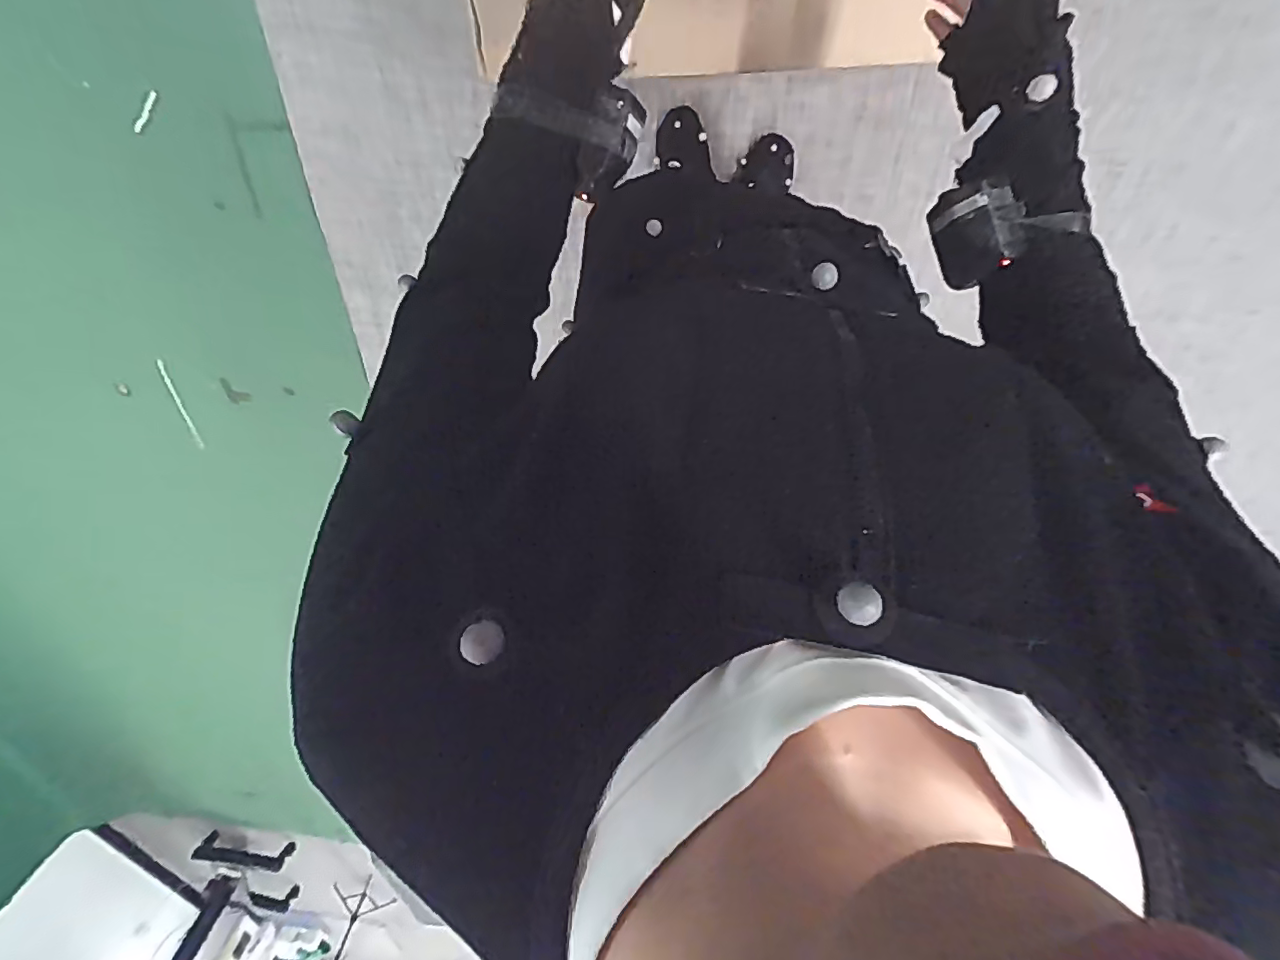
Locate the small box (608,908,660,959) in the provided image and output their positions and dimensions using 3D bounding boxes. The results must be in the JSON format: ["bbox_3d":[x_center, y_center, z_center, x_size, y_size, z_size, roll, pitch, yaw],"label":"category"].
[{"bbox_3d":[-0.020,1.588,1.836,0.168,0.176,0.179,2,126,6],"label":"small box"}]
